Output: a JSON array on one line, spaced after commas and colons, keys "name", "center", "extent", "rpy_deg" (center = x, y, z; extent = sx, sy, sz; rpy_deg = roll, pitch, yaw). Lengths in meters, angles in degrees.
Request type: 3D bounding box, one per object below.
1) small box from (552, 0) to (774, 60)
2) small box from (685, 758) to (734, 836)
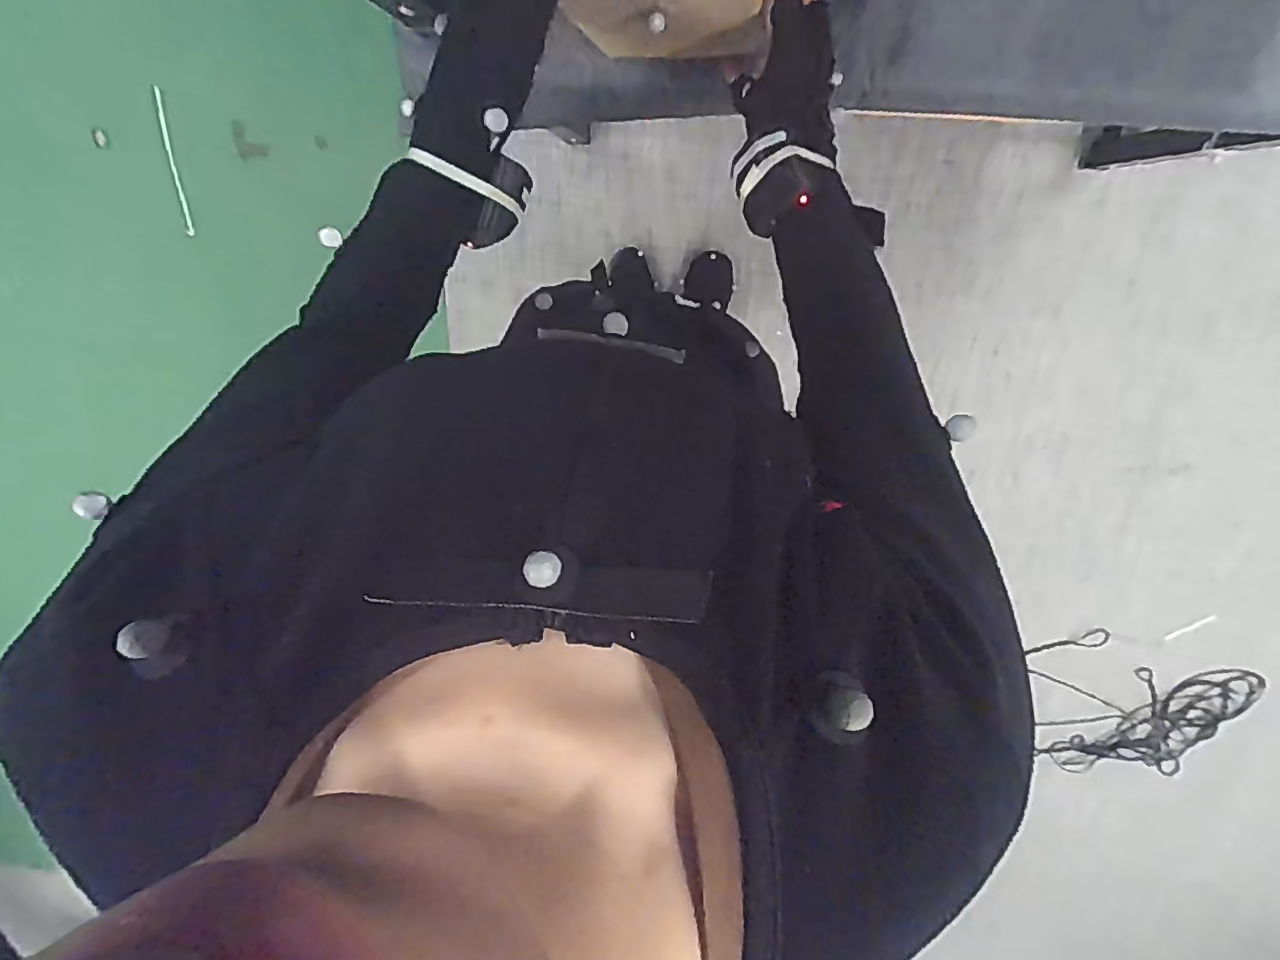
[{"name": "small box", "center": [0.024, -0.466, 0.424], "extent": [0.168, 0.176, 0.179], "rpy_deg": [10, 113, 15]}, {"name": "small box", "center": [0.248, 1.141, 1.952], "extent": [0.168, 0.176, 0.179], "rpy_deg": [2, 113, 5]}]
